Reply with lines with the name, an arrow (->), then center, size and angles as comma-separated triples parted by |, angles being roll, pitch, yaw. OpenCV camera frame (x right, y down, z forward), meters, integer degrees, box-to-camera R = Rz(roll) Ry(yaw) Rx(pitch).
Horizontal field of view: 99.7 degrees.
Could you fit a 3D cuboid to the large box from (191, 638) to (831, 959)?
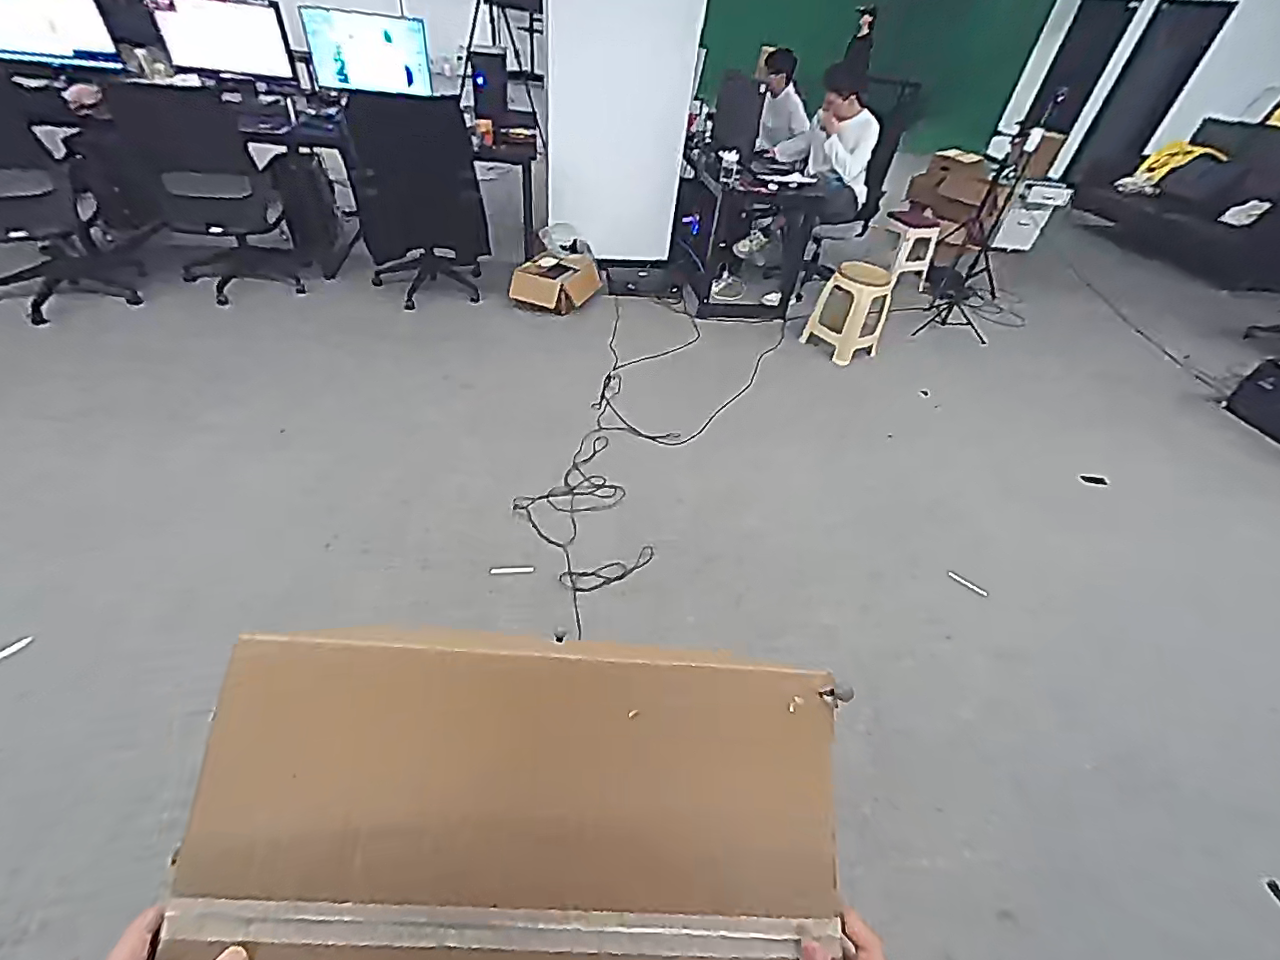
large box -> -0.085, 0.312, 0.488 | 0.408, 0.320, 0.320 | 5, 76, -4
